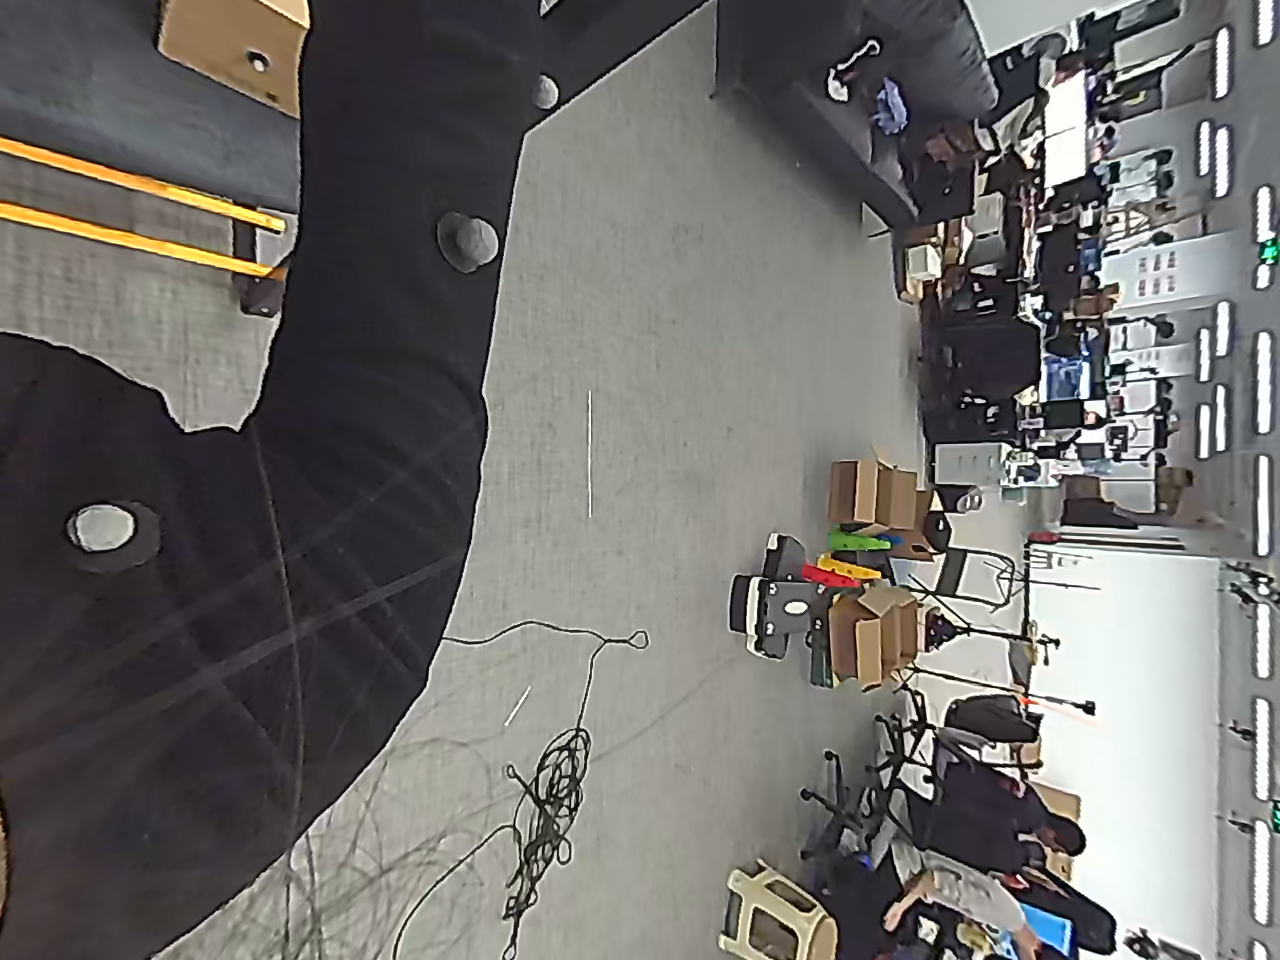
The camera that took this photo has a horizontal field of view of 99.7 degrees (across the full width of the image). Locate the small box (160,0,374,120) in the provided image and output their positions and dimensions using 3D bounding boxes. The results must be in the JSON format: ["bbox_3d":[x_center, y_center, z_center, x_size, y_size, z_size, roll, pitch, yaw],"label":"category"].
[{"bbox_3d":[-0.415,-0.556,0.606,0.168,0.176,0.179,5,86,-48],"label":"small box"}]
